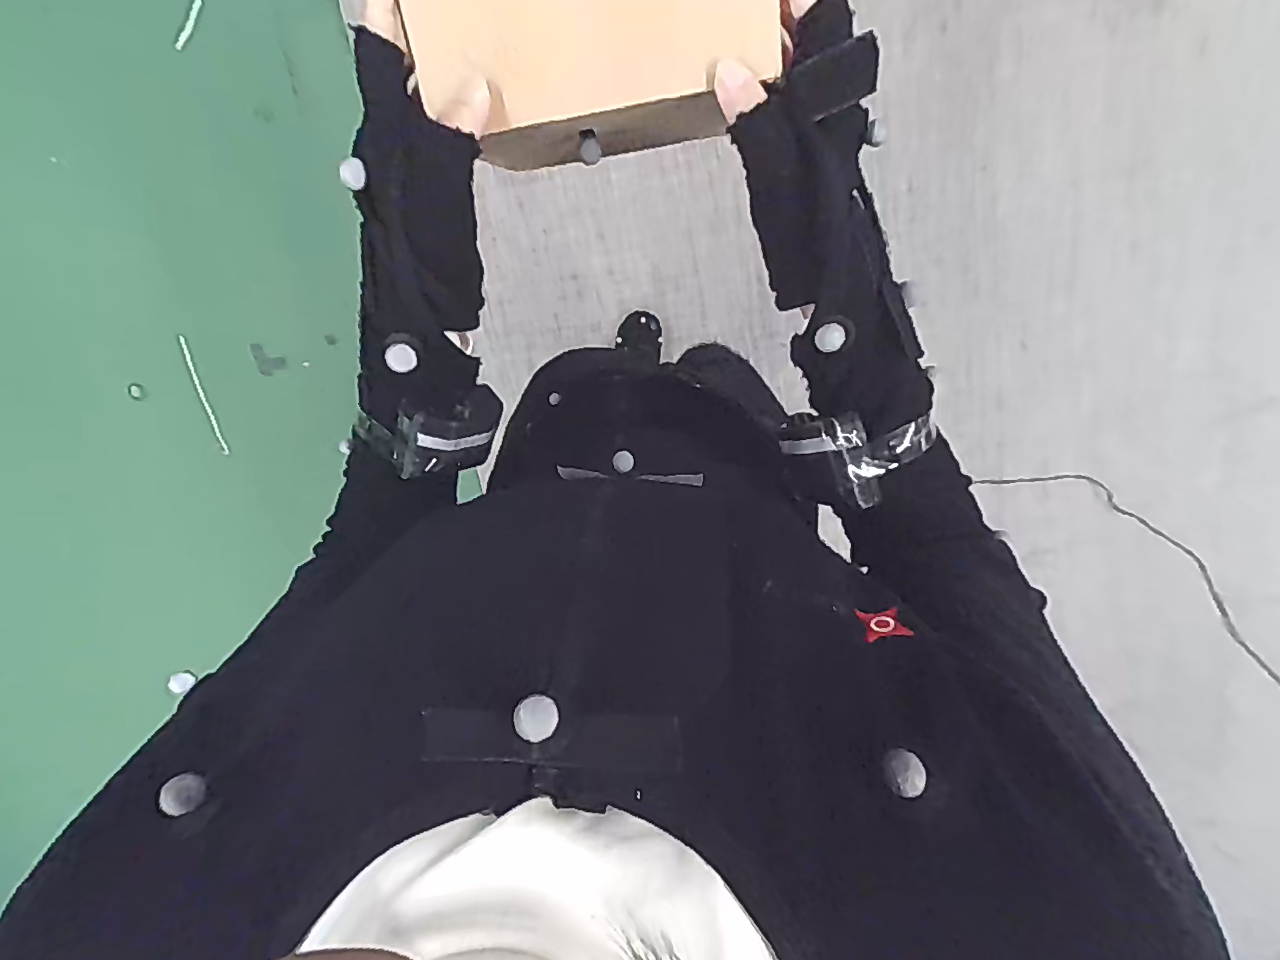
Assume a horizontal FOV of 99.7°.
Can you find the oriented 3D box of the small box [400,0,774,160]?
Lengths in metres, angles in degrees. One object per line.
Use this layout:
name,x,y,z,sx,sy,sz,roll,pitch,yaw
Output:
small box,-0.031,-0.301,0.307,0.179,0.176,0.168,-10,112,7
